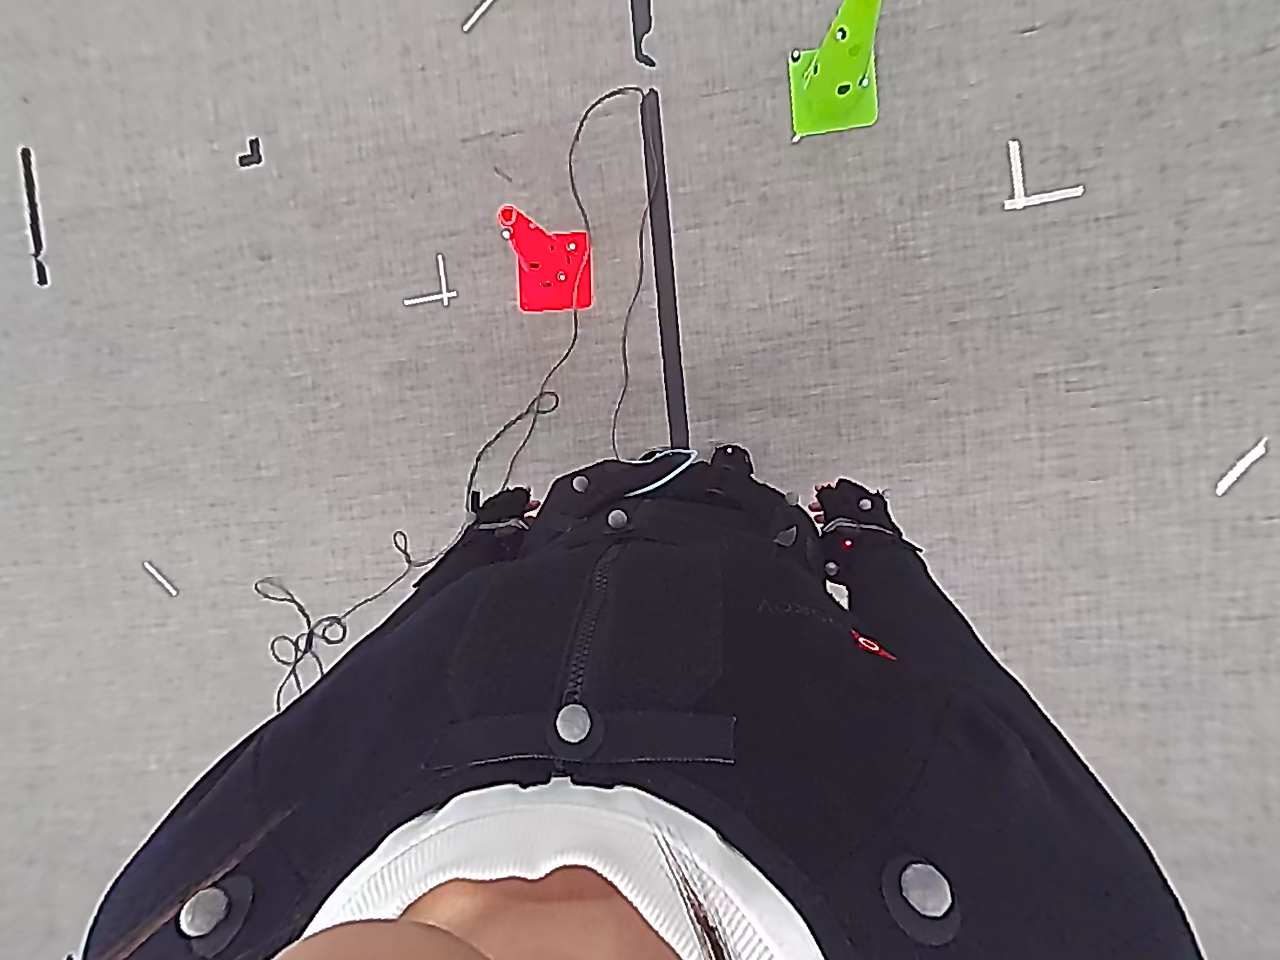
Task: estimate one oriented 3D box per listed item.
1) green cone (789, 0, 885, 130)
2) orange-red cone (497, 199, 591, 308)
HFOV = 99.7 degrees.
[{"bbox_3d":[0.452,-0.949,1.140,0.202,0.368,0.200,-5,93,6],"label":"green cone"},{"bbox_3d":[-0.248,-0.547,1.252,0.199,0.360,0.198,-1,92,8],"label":"orange-red cone"}]
